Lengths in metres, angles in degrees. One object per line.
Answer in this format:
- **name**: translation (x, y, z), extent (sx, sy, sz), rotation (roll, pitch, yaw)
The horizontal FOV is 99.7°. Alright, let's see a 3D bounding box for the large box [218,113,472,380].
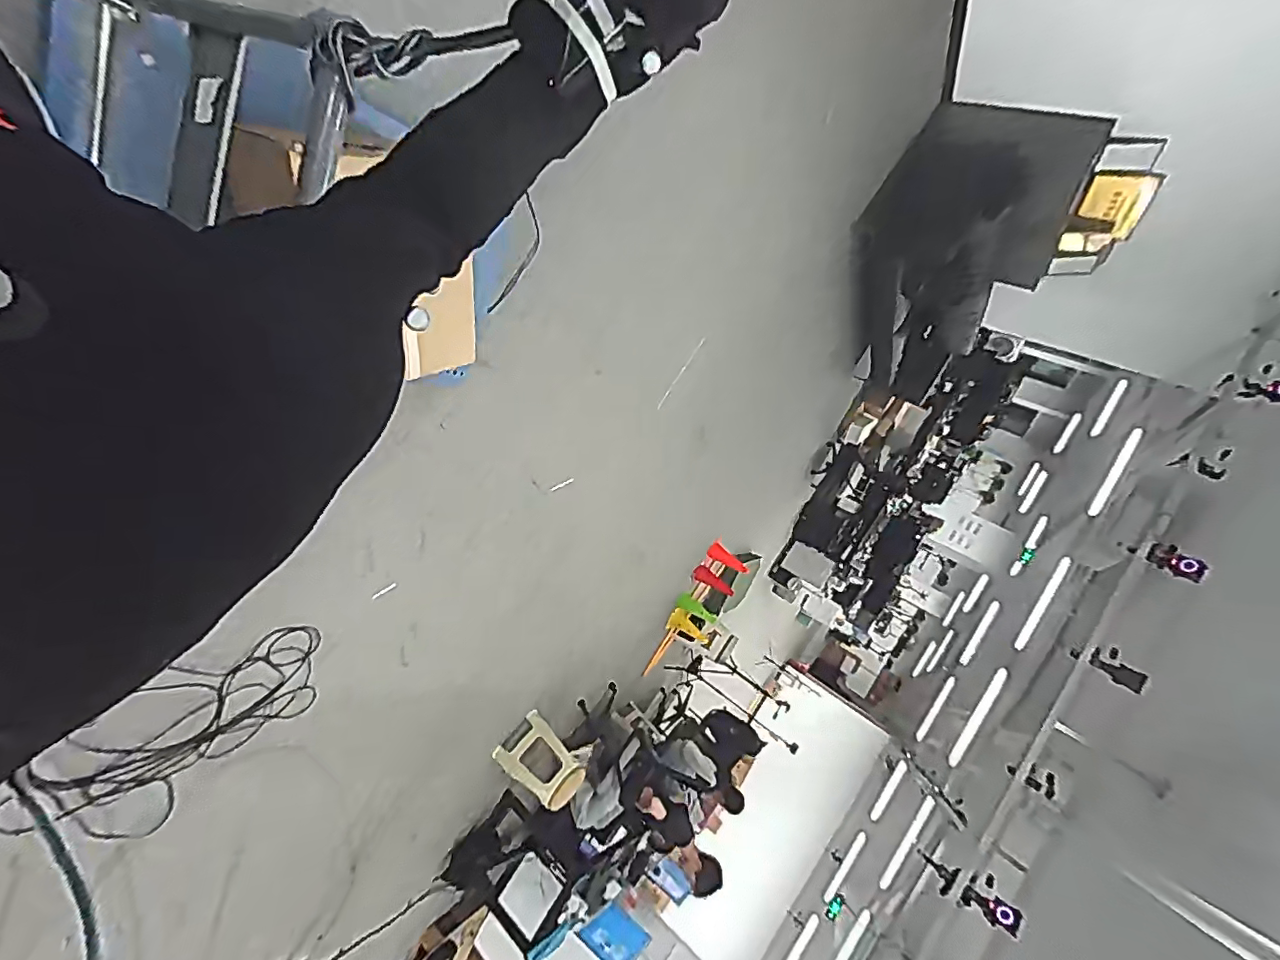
- **large box**: translation (-0.566, -0.468, 1.088), extent (0.320, 0.320, 0.408), rotation (-28, 139, -43)
